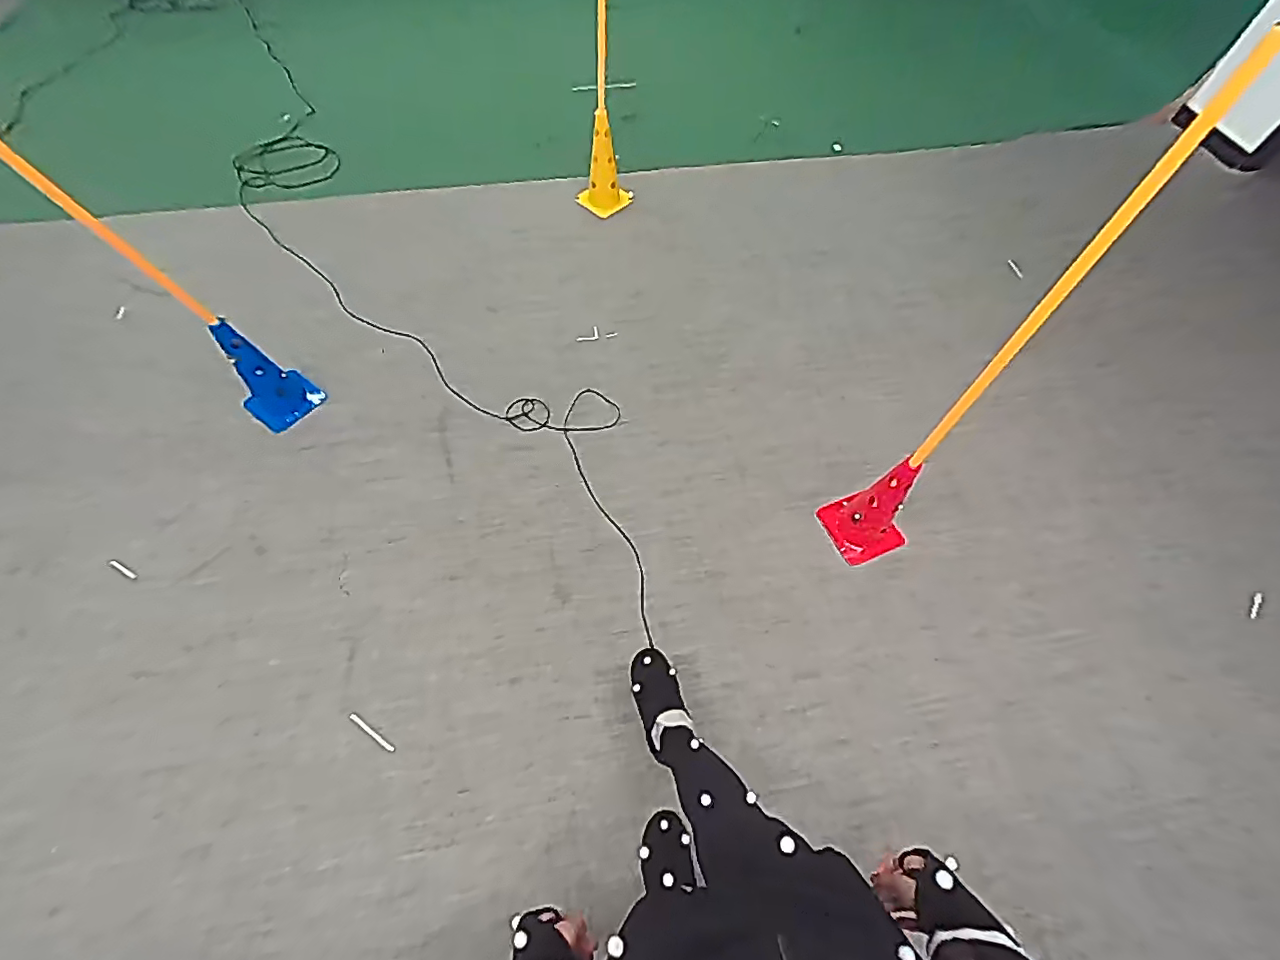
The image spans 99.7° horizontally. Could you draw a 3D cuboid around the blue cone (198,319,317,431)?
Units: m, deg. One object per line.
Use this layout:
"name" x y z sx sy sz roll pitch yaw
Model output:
"blue cone" -1.176 -0.332 1.626 0.192 0.380 0.193 33 67 15
